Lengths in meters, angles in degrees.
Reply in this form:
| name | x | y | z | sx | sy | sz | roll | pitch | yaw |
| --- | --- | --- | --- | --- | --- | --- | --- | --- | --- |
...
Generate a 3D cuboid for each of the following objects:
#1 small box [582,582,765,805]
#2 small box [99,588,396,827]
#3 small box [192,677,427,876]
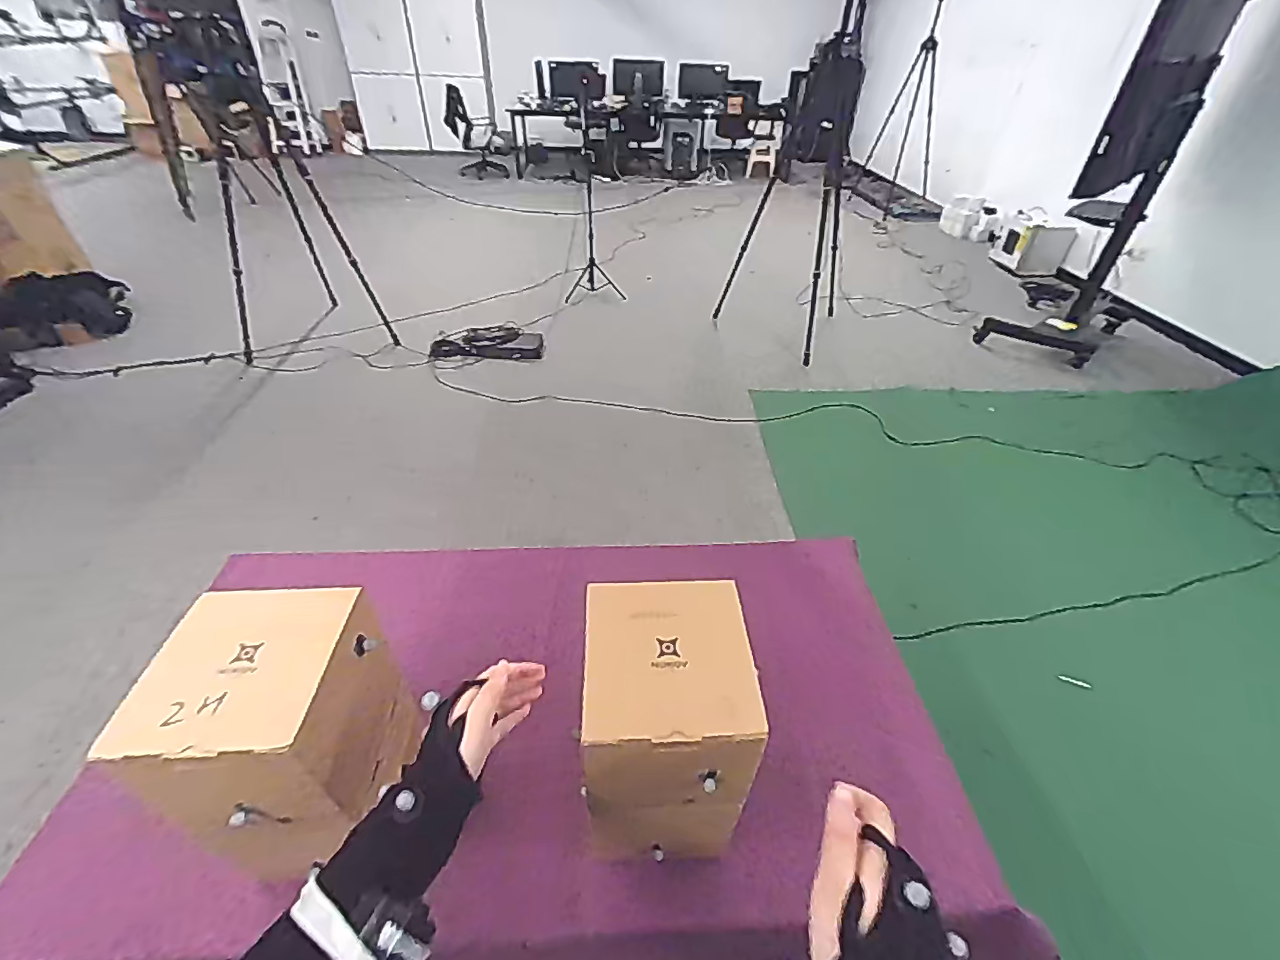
| name | x | y | z | sx | sy | sz | roll | pitch | yaw |
| --- | --- | --- | --- | --- | --- | --- | --- | --- | --- |
| small box | 0.027 | 0.233 | 0.587 | 0.168 | 0.176 | 0.179 | -1 | 40 | -3 |
| small box | -0.375 | 0.234 | 0.566 | 0.168 | 0.176 | 0.179 | -1 | 40 | -3 |
| small box | -0.380 | 0.364 | 0.668 | 0.179 | 0.176 | 0.168 | -1 | 39 | -5 |
